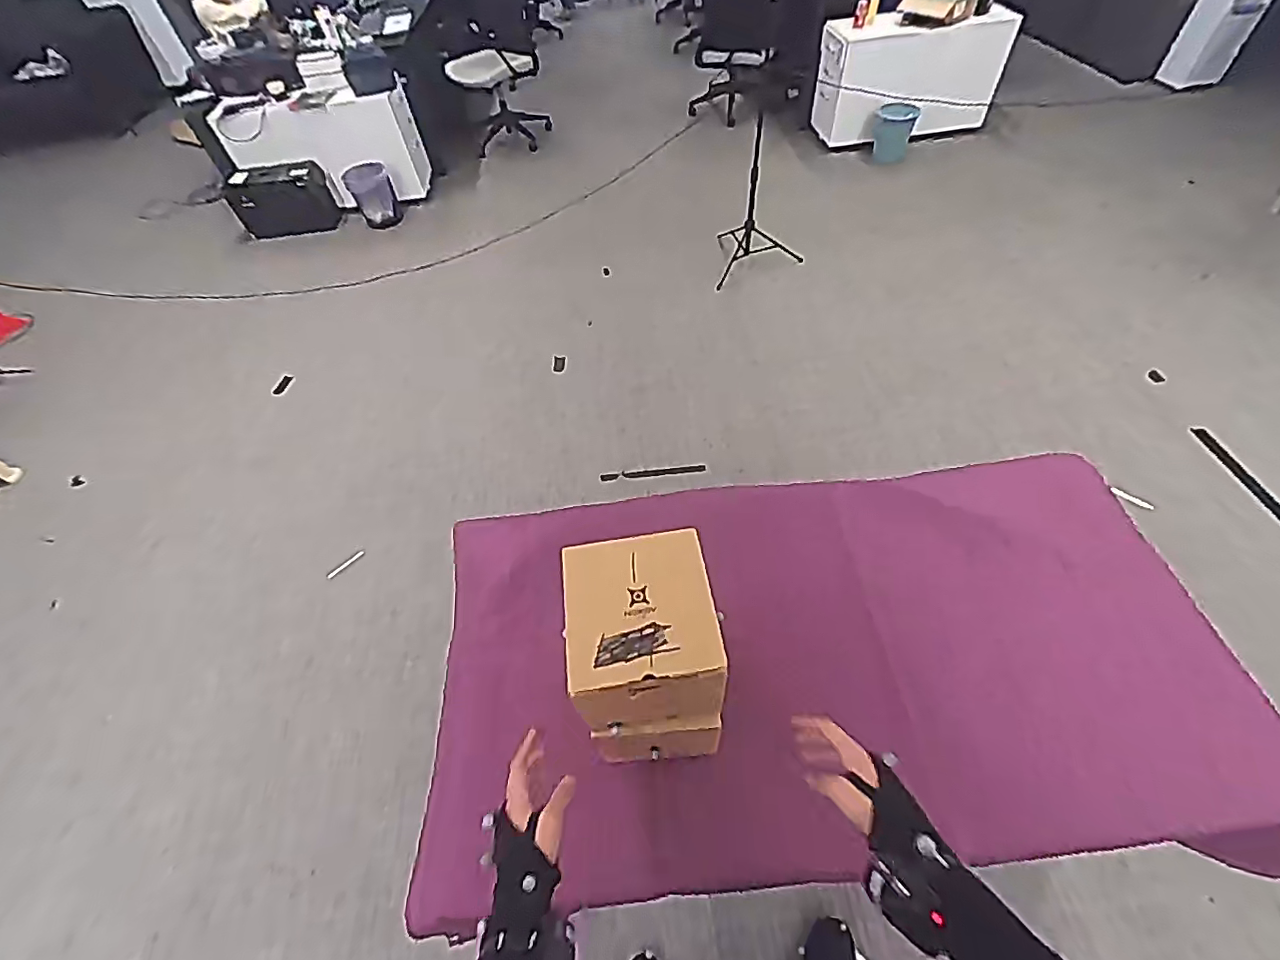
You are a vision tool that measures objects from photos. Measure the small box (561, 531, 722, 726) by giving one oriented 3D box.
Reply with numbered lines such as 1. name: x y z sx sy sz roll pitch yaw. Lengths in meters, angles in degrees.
1. small box: 0.001 0.188 0.663 0.168 0.176 0.179 -8 52 -2

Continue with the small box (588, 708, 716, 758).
1. small box: 0.018 0.296 0.787 0.168 0.176 0.179 -4 53 1
